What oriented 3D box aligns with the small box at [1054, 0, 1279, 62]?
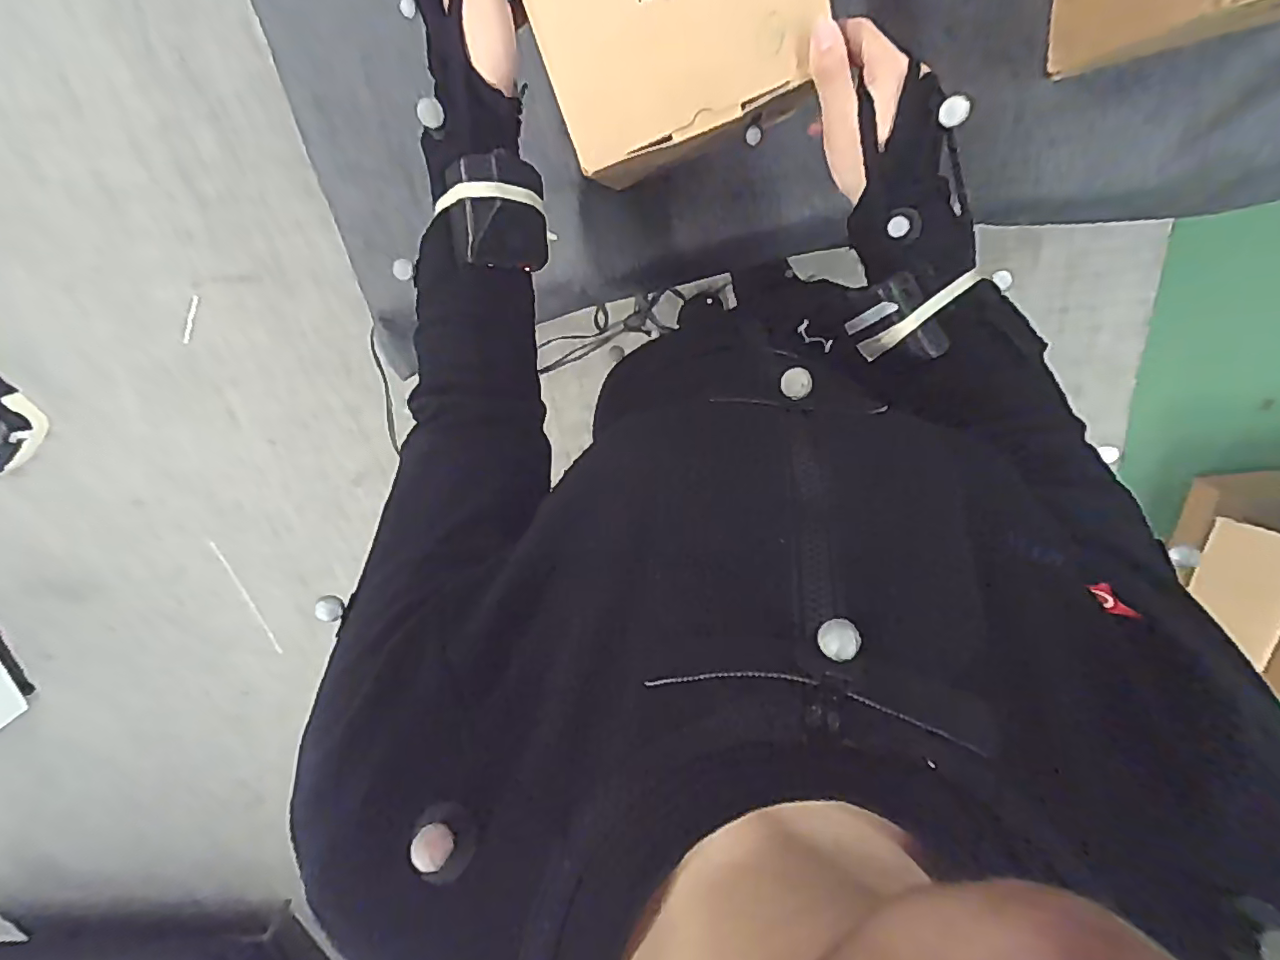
[{"bbox_3d":[0.386,-0.375,0.307,0.179,0.176,0.168,-9,115,11],"label":"small box"}]
